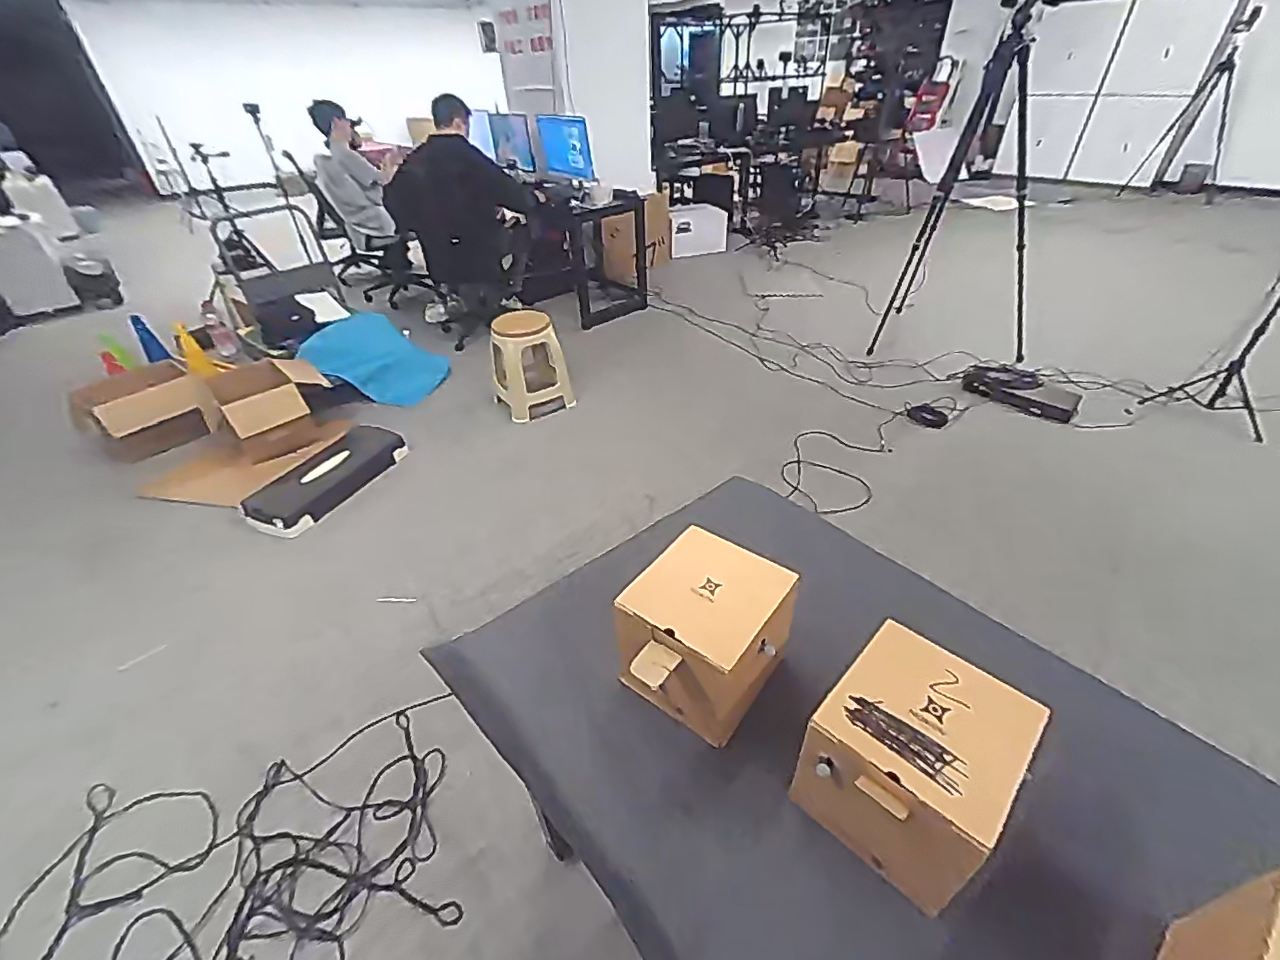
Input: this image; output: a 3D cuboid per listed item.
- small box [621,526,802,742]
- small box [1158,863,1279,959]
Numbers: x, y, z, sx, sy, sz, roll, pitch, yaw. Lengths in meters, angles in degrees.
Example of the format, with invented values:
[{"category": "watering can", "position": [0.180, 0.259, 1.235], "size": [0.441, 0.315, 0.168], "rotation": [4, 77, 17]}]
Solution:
[{"category": "small box", "position": [0.090, 0.199, 0.717], "size": [0.168, 0.176, 0.179], "rotation": [24, 45, 30]}, {"category": "small box", "position": [0.497, 0.433, 0.381], "size": [0.179, 0.176, 0.168], "rotation": [-27, 44, -30]}]
